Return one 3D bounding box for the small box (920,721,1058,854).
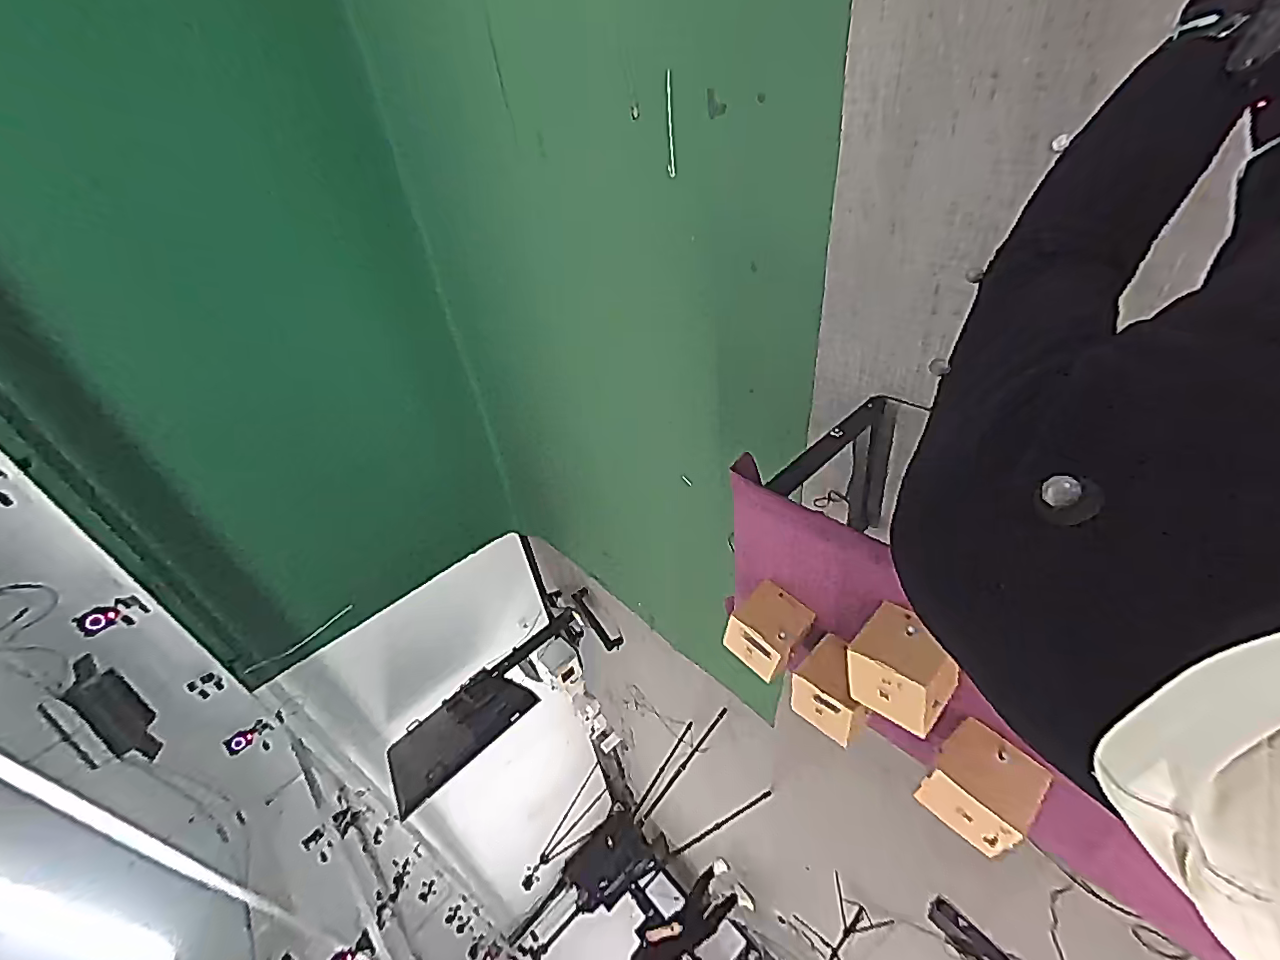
[{"bbox_3d":[0.760,0.662,1.185,0.179,0.176,0.168,35,145,33],"label":"small box"}]

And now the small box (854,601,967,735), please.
[{"bbox_3d":[0.587,0.402,1.176,0.168,0.176,0.179,21,136,45],"label":"small box"}]
